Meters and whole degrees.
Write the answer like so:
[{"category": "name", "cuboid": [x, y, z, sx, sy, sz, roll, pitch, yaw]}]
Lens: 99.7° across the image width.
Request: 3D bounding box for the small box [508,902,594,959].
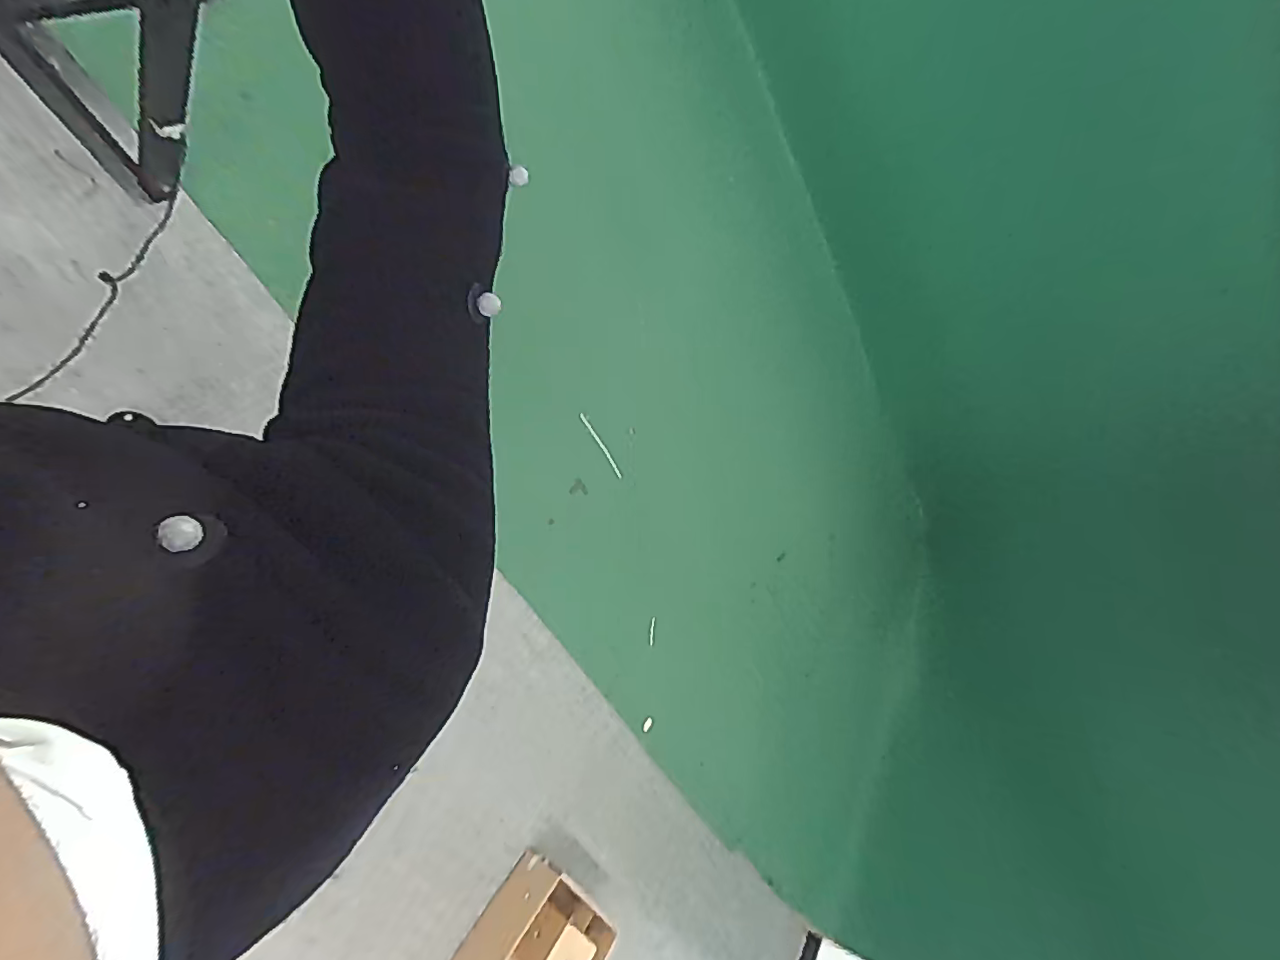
[{"category": "small box", "cuboid": [-0.286, 1.497, 1.721, 0.168, 0.176, 0.179, -48, 118, -35]}]
